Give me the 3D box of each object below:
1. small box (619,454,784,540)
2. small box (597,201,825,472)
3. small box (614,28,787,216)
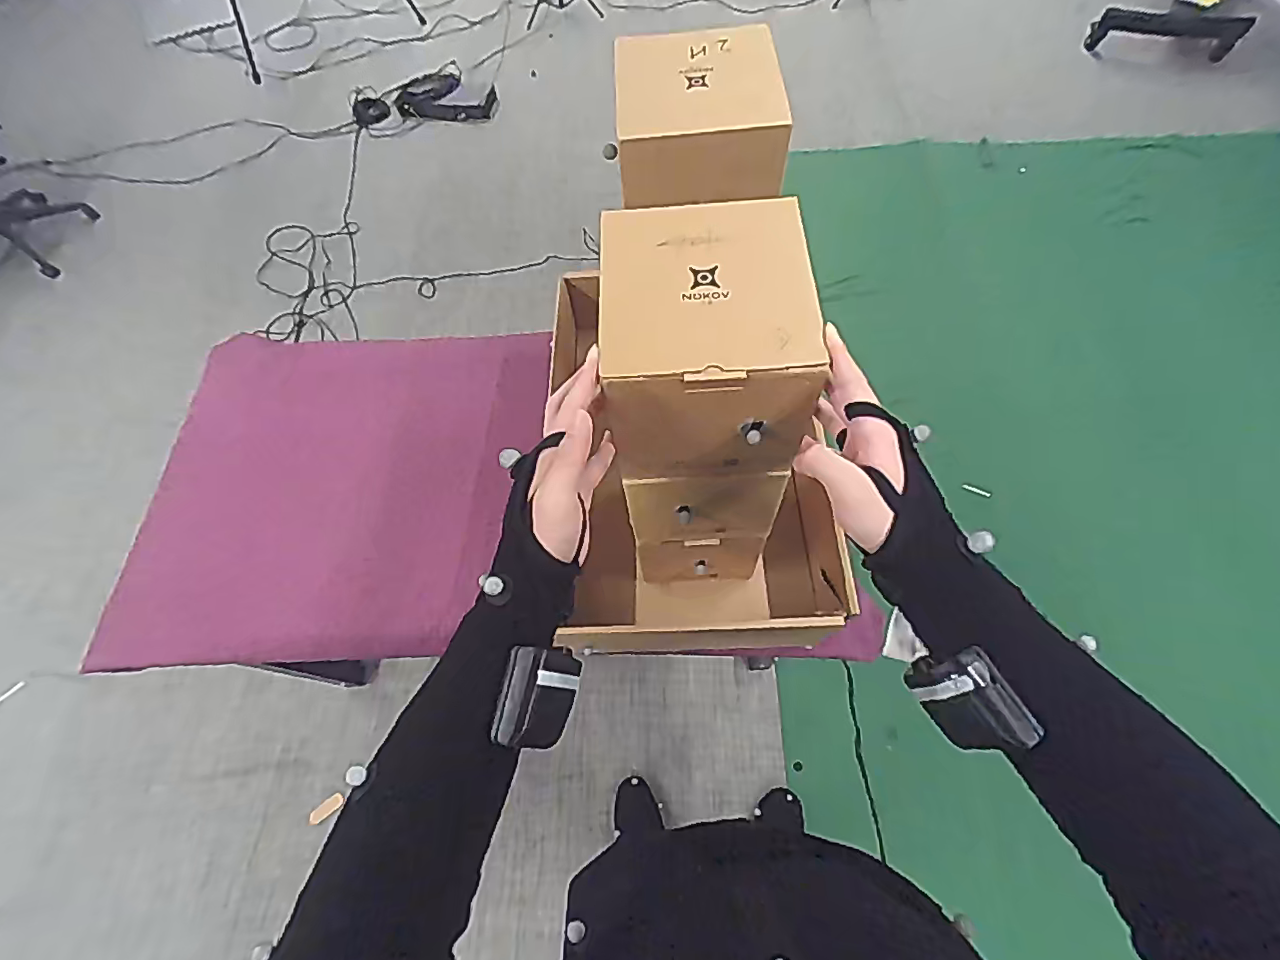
[{"bbox_3d":[0.067,-0.035,0.637,0.168,0.176,0.179,-4,62,4],"label":"small box"},{"bbox_3d":[0.055,-0.114,0.490,0.168,0.176,0.179,-3,65,3],"label":"small box"},{"bbox_3d":[0.061,-0.360,0.611,0.168,0.176,0.179,-3,64,3],"label":"small box"}]
